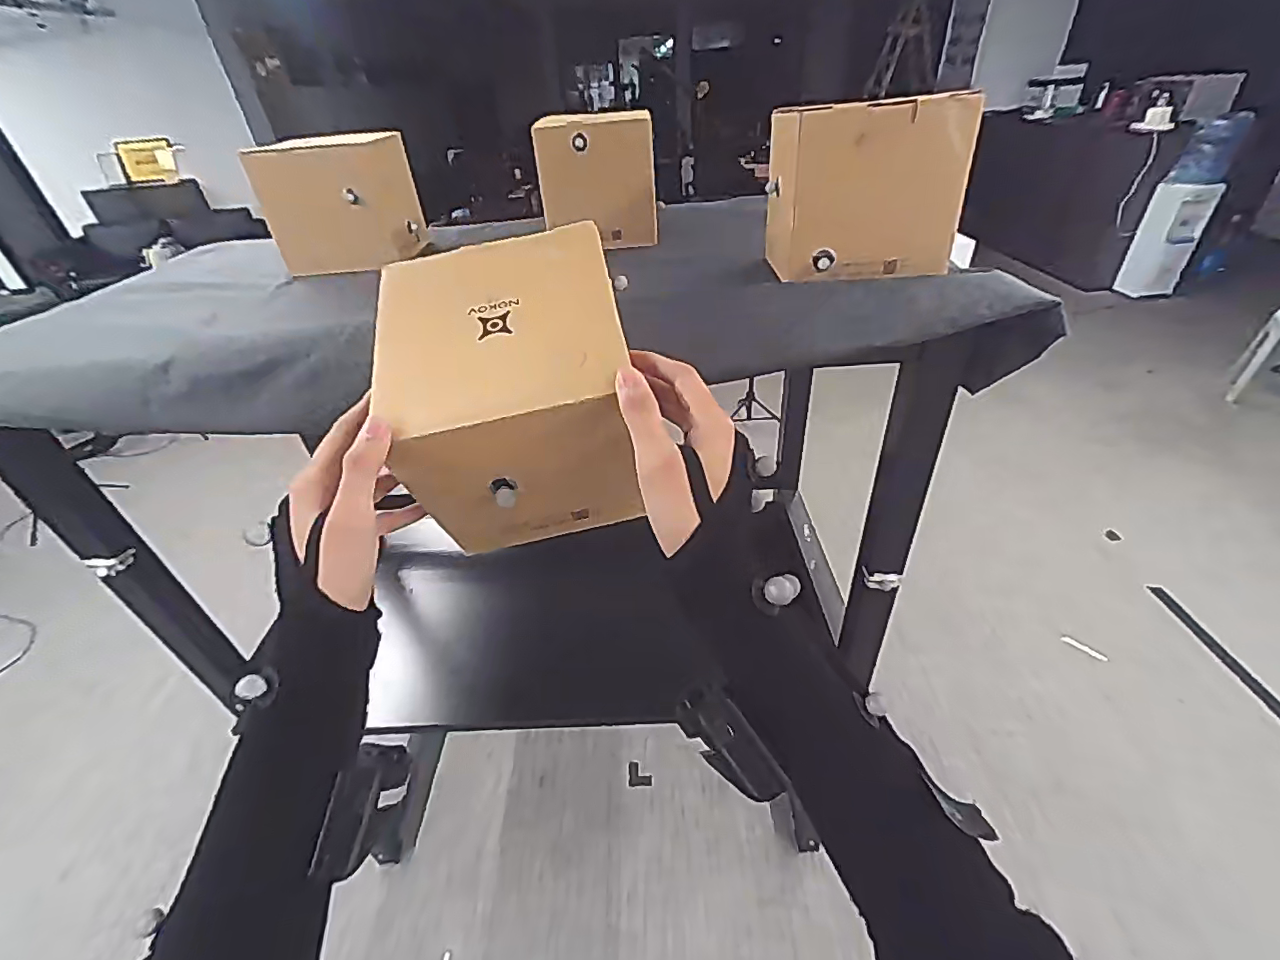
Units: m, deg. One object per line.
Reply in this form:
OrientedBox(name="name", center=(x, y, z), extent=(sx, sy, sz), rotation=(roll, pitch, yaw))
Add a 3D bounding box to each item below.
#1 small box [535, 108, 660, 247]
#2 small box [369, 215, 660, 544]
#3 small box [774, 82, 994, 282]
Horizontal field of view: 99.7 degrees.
OrientedBox(name="small box", center=(-0.056, -0.465, 0.834), extent=(0.168, 0.176, 0.179), rotation=(-4, 36, 2))
OrientedBox(name="small box", center=(-0.083, -0.064, 0.419), extent=(0.168, 0.176, 0.179), rotation=(-13, 58, -2))
OrientedBox(name="small box", center=(0.245, -0.321, 0.595), extent=(0.168, 0.176, 0.179), rotation=(-2, 33, 5))
